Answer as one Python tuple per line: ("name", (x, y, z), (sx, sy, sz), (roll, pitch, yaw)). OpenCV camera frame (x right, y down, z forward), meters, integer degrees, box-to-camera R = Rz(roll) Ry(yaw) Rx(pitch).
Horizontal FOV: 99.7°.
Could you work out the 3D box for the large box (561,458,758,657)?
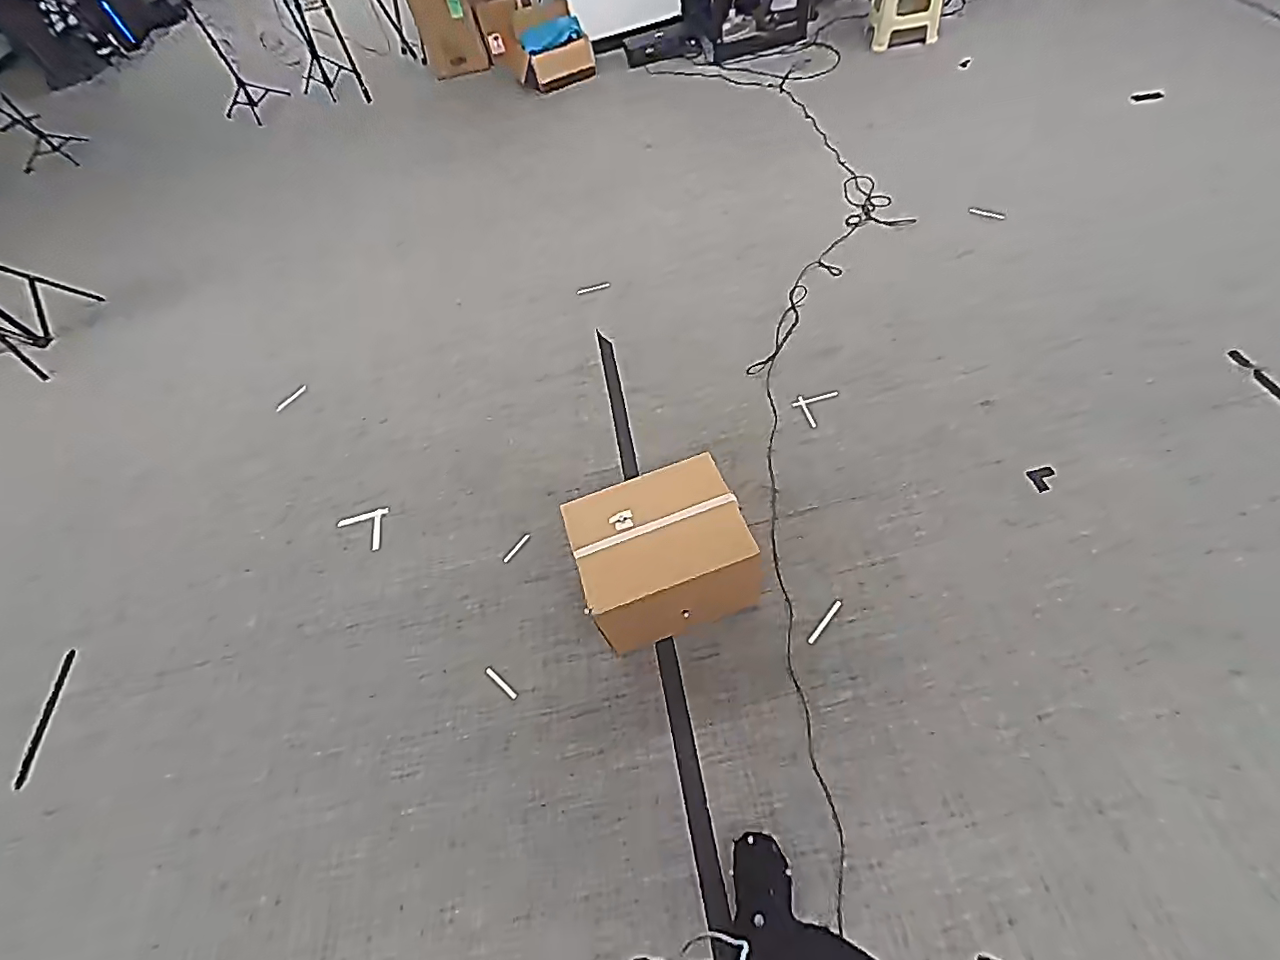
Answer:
("large box", (0.059, 0.209, 1.398), (0.408, 0.320, 0.320), (-20, 54, -1))
